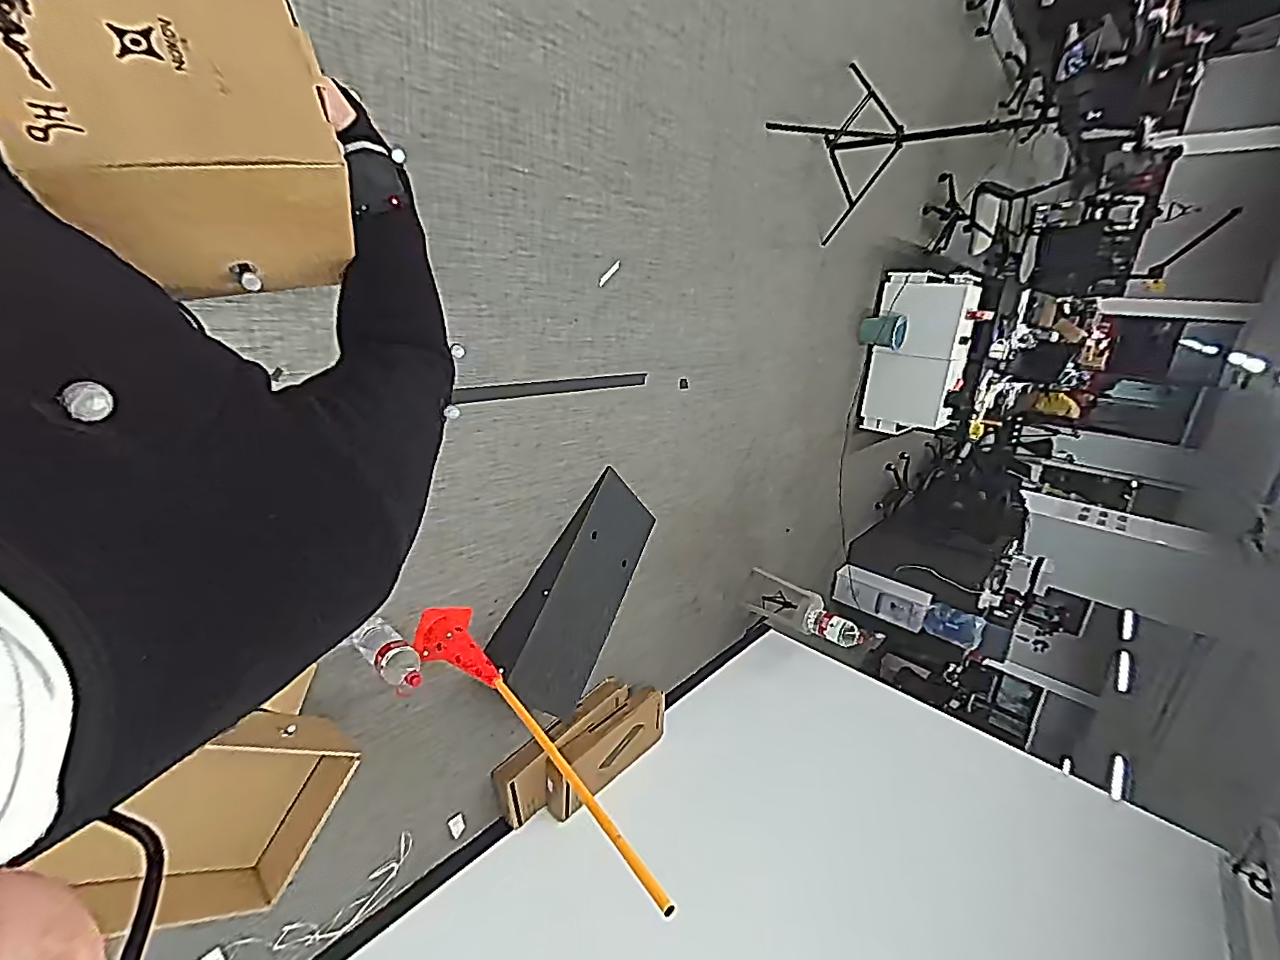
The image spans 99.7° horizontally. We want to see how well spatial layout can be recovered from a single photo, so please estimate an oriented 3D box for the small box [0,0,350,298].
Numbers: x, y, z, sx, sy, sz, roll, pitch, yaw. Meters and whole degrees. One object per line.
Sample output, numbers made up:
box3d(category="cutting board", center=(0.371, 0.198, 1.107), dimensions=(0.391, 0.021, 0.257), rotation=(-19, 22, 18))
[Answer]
box3d(category="small box", center=(-0.347, -0.264, 0.428), dimensions=(0.179, 0.176, 0.168), rotation=(-18, 87, -28))
